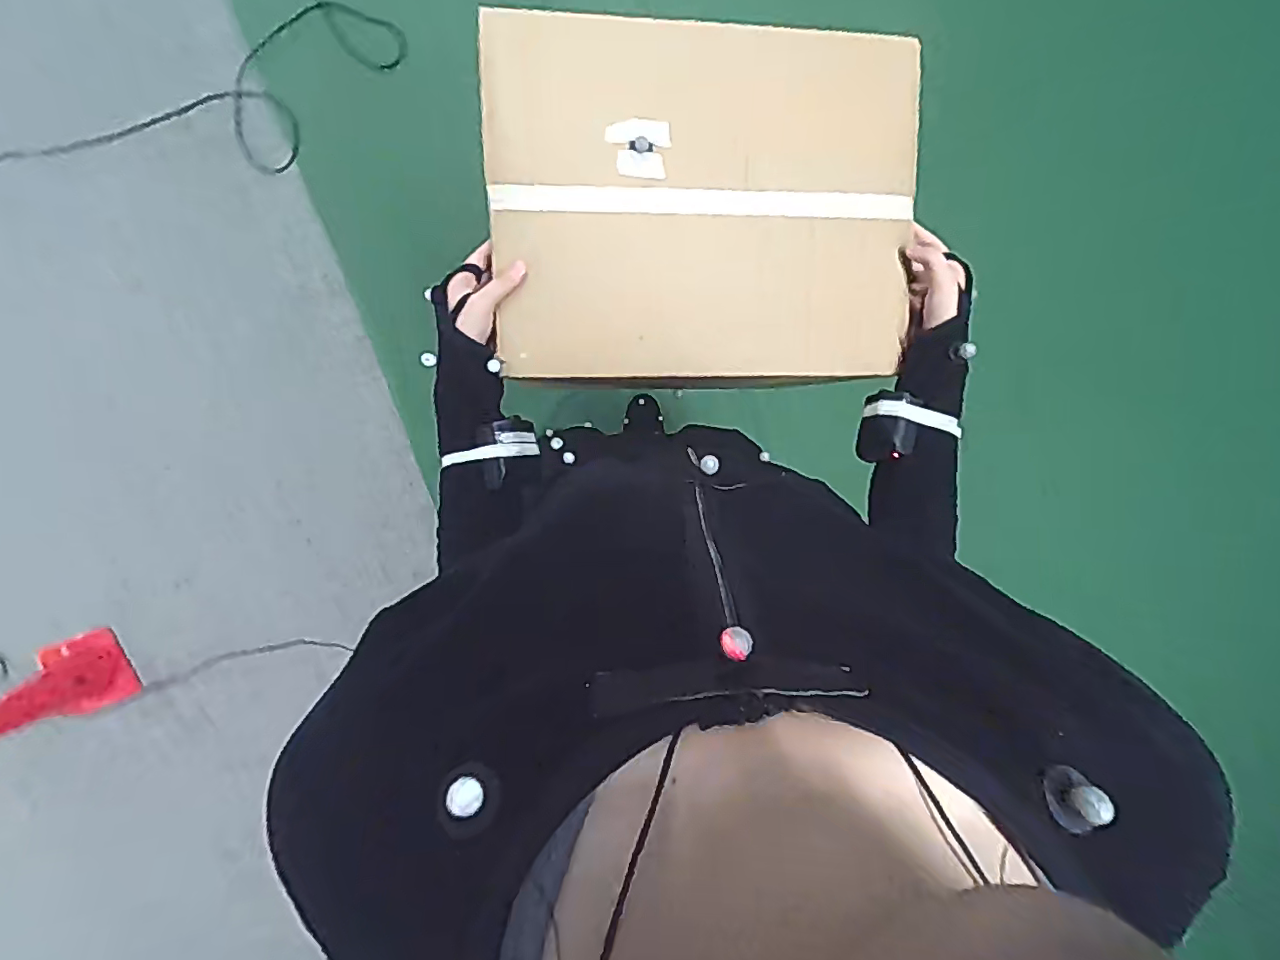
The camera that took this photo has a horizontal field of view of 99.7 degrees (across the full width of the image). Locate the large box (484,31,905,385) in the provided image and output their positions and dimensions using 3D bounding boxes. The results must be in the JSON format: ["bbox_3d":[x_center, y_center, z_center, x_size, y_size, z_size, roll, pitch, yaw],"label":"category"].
[{"bbox_3d":[0.050,-0.282,0.668,0.408,0.320,0.320,-2,97,-5],"label":"large box"}]
